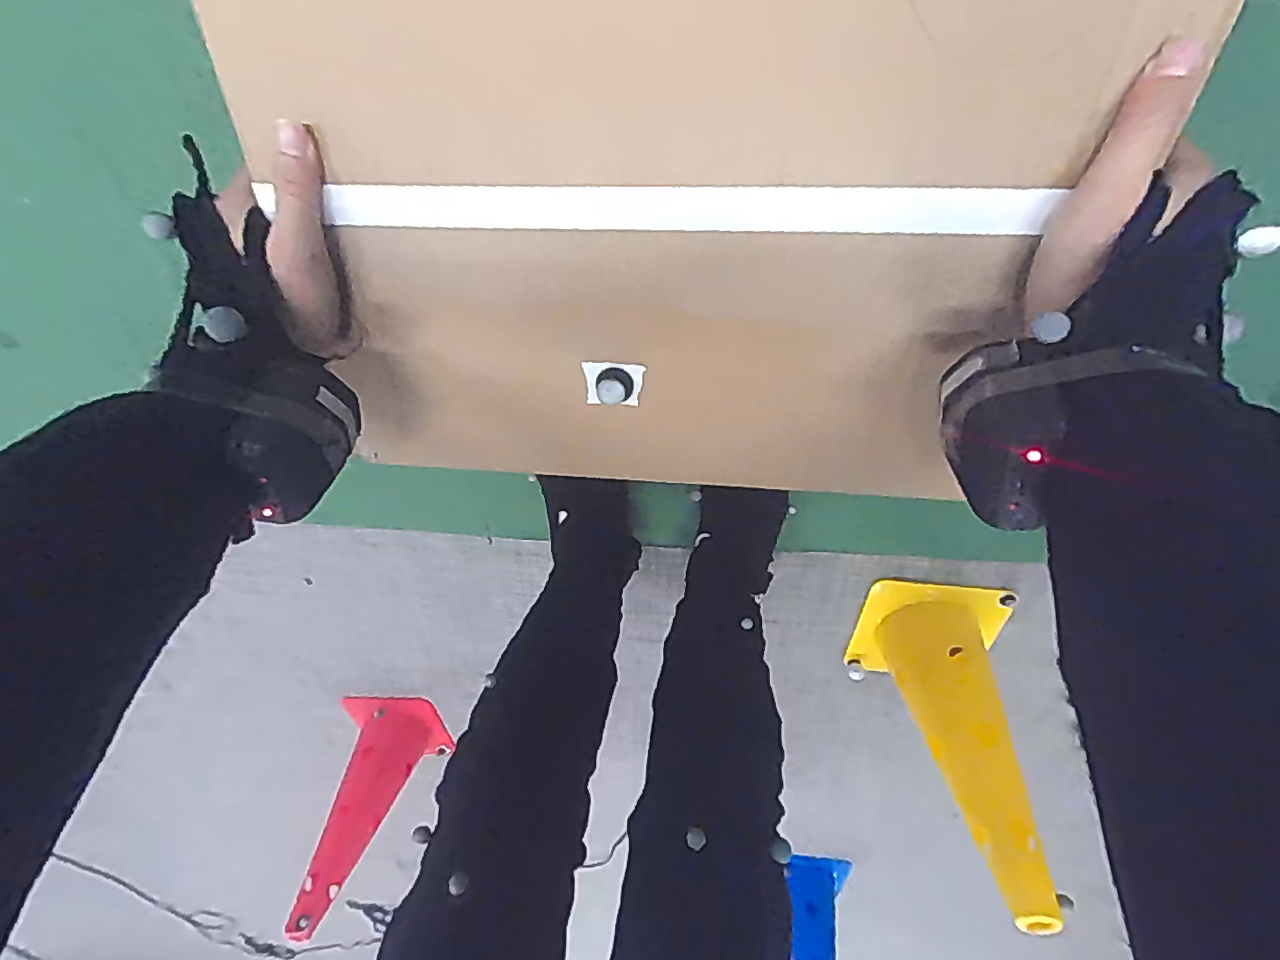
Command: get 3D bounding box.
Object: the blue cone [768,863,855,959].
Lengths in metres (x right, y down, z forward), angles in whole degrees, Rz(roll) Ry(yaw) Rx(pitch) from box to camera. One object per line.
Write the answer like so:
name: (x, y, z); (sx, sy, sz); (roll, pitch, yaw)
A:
blue cone: (0.389, 1.055, 1.156); (0.192, 0.380, 0.193); (2, 124, 6)

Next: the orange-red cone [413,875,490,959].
orange-red cone: (-0.569, 1.306, 1.436); (0.199, 0.360, 0.198); (20, 123, -4)

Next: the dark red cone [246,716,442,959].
dark red cone: (-0.535, 0.624, 0.954); (0.202, 0.394, 0.201); (-4, 120, 11)
